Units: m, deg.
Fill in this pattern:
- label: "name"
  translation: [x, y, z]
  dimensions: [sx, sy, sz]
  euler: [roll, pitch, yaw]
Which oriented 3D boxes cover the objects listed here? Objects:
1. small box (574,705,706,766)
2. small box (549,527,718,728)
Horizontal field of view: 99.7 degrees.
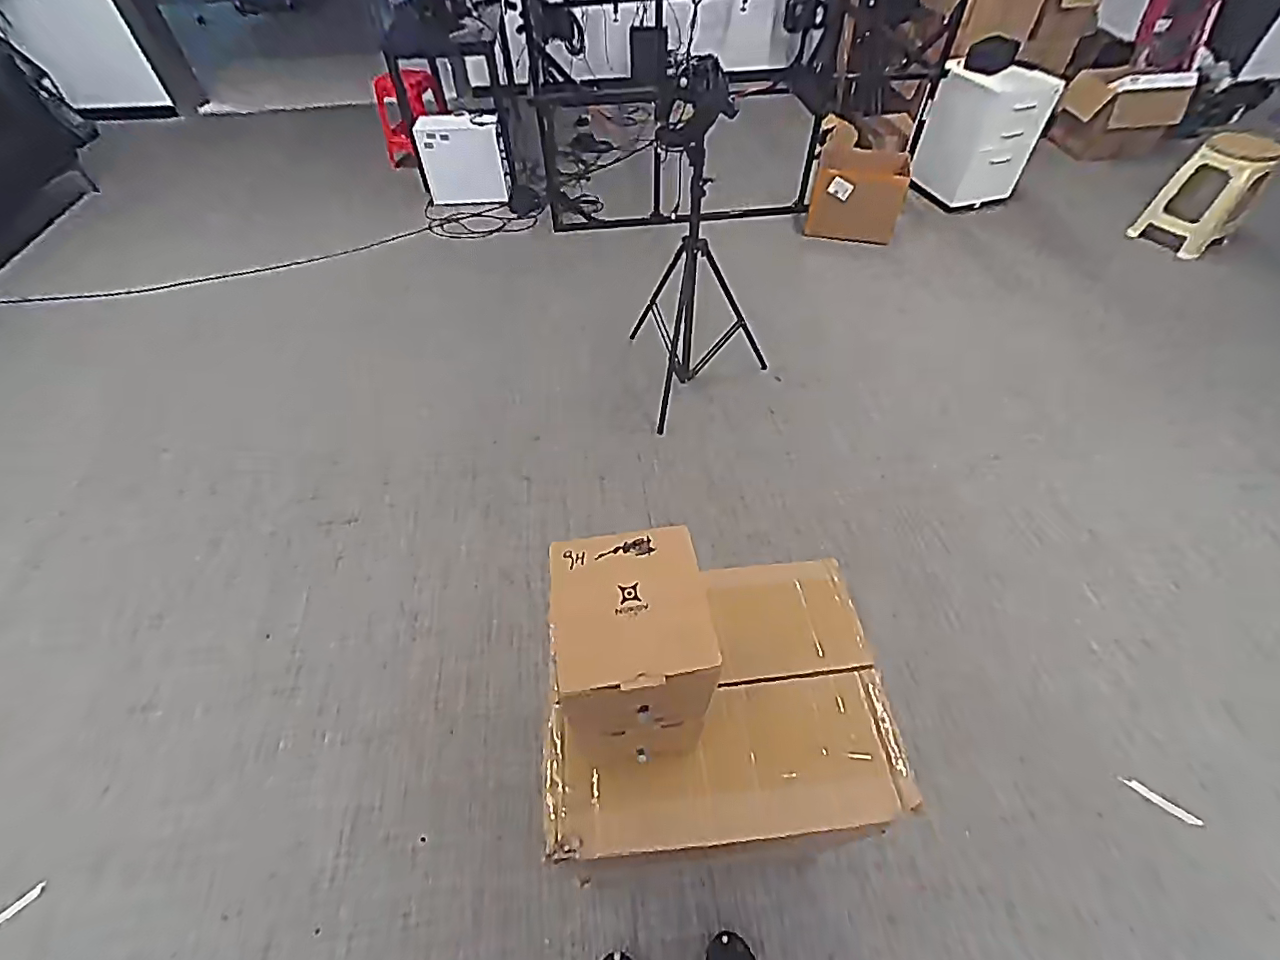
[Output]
- label: "small box"
  translation: [-0.010, 0.287, 0.773]
  dimensions: [0.168, 0.176, 0.179]
  euler: [-6, 52, -5]
- label: "small box"
  translation: [-0.012, 0.183, 0.646]
  dimensions: [0.168, 0.176, 0.179]
  euler: [-7, 52, -6]
